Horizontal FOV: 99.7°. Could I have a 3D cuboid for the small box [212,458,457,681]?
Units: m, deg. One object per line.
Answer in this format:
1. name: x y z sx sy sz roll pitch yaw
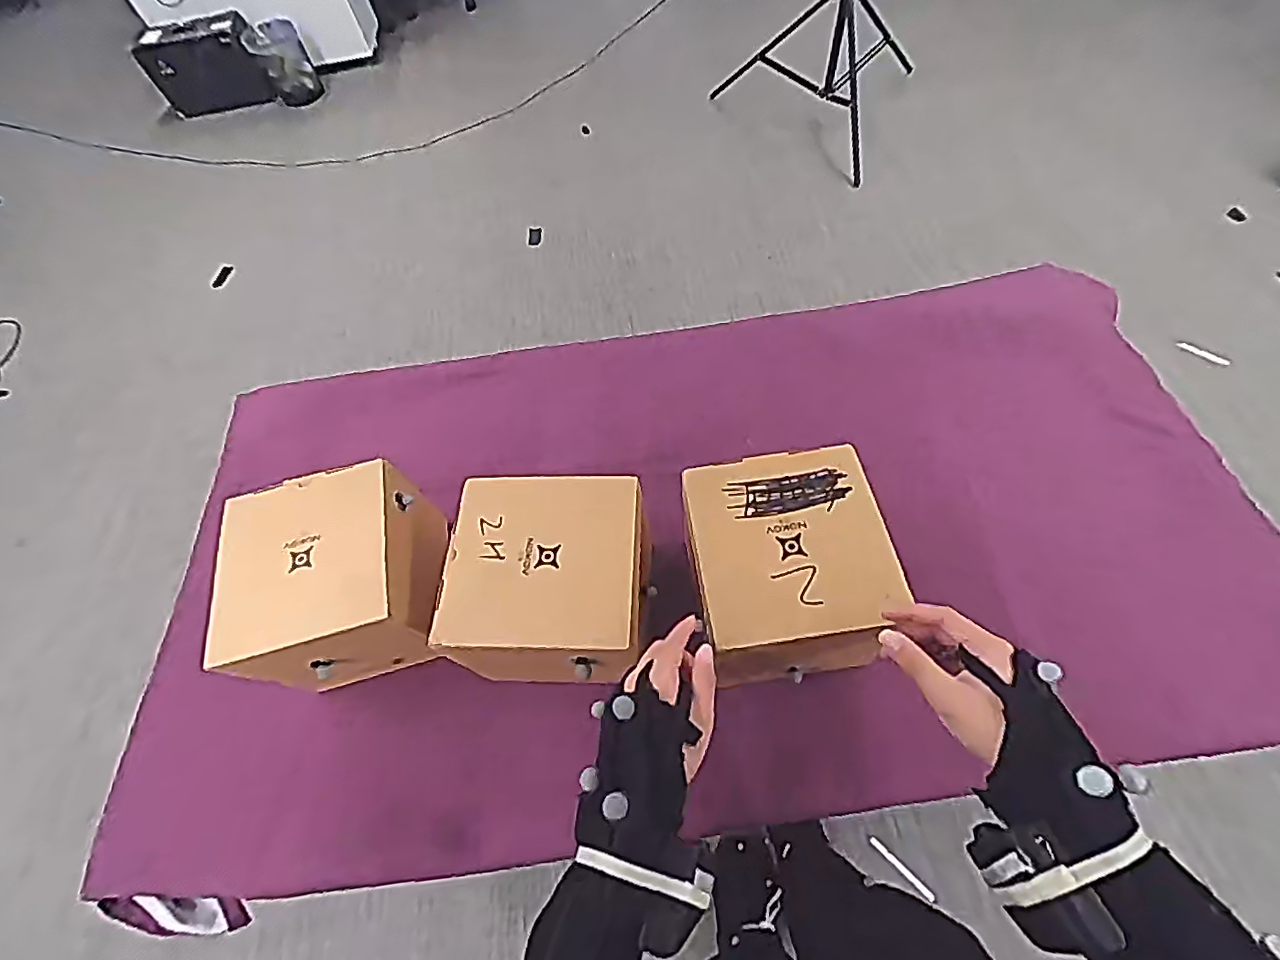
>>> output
1. small box: -0.314 0.108 0.589 0.168 0.176 0.179 -17 61 -3
